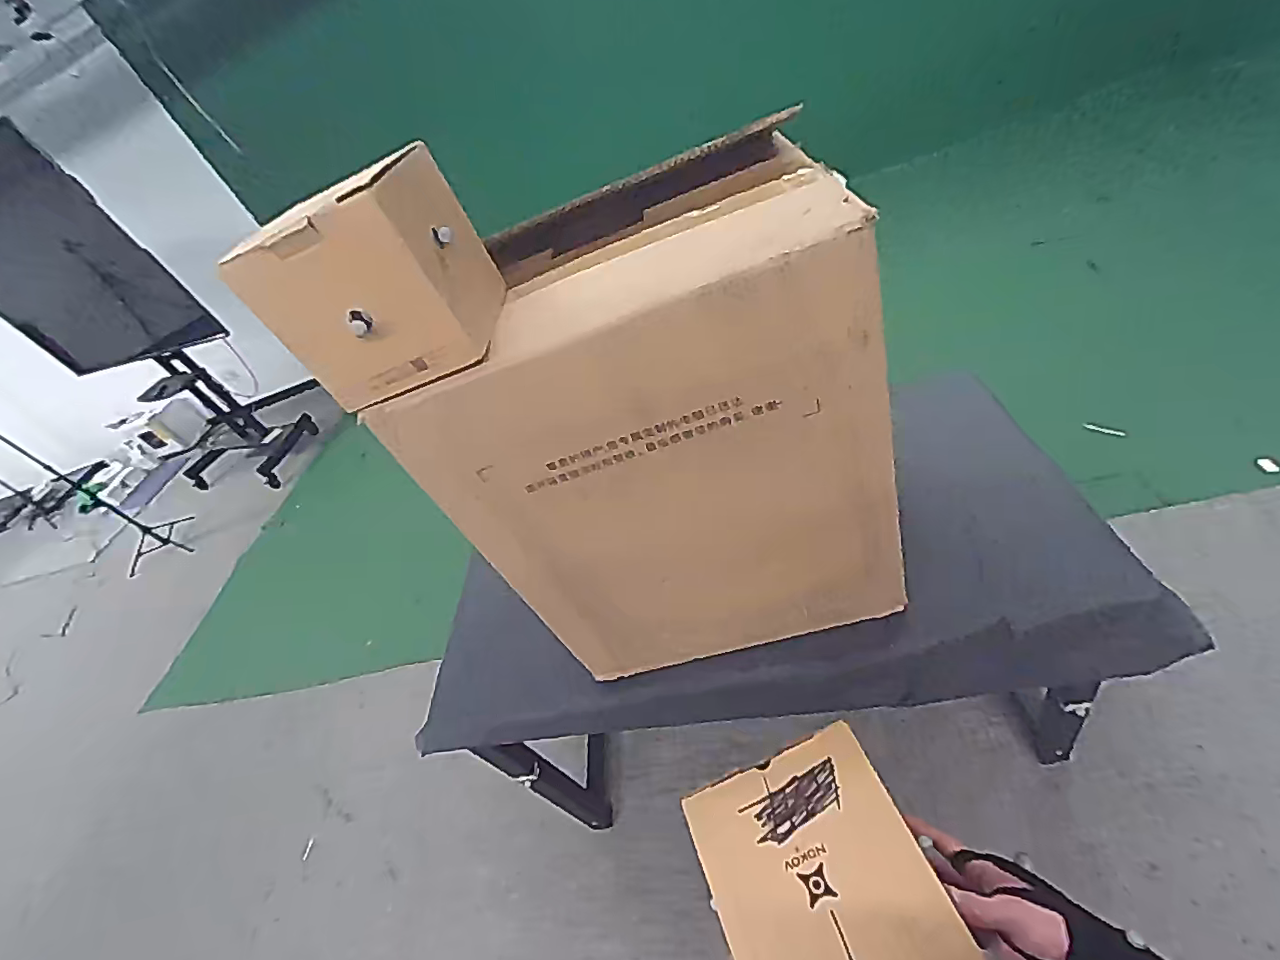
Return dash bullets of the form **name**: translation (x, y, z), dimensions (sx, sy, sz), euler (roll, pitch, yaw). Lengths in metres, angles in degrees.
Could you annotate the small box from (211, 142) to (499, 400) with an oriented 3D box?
- **small box**: translation (-0.265, -0.203, 0.554), dimensions (0.168, 0.176, 0.179), euler (-18, 42, 13)
